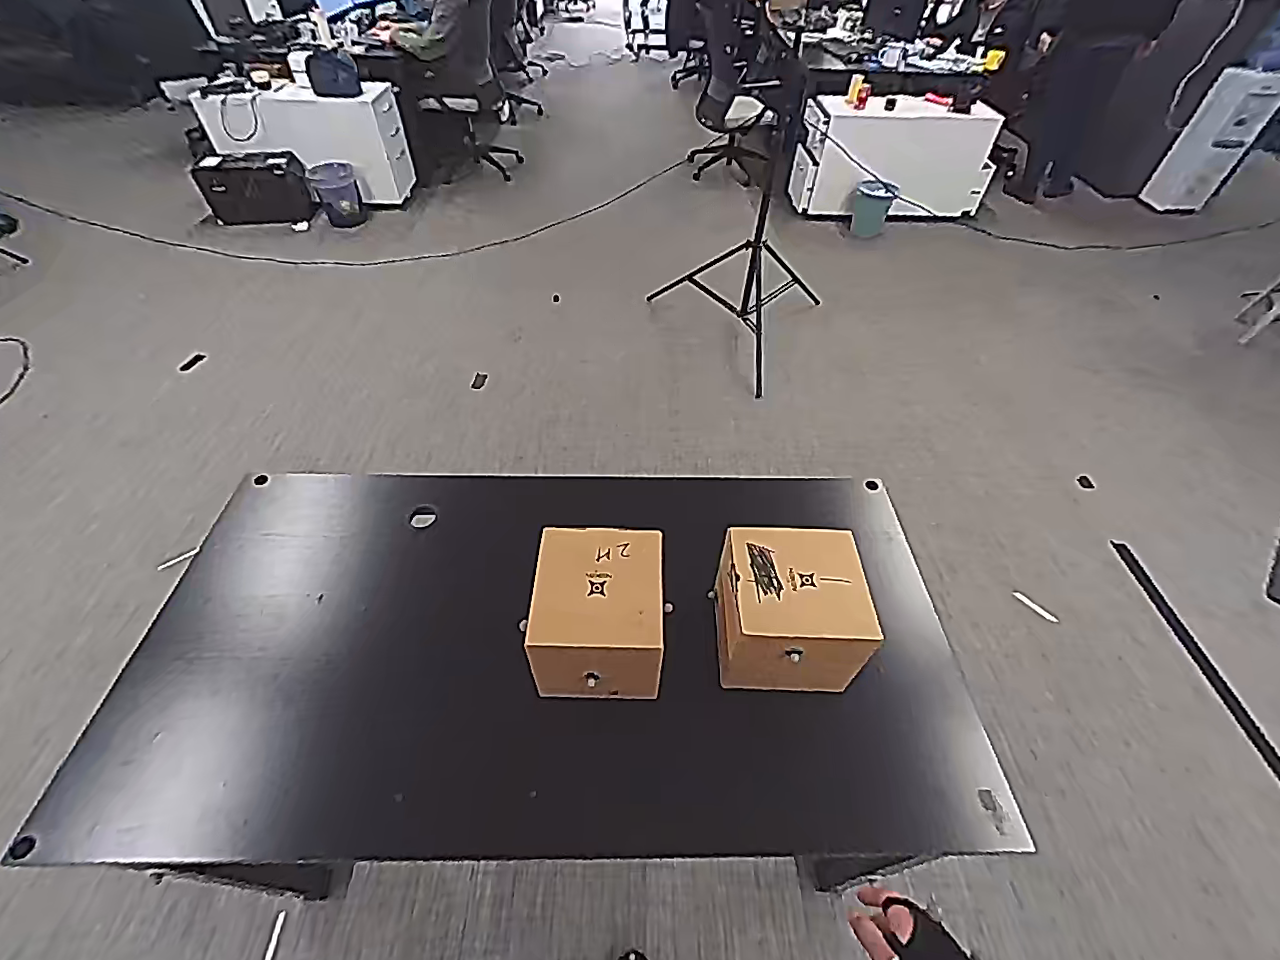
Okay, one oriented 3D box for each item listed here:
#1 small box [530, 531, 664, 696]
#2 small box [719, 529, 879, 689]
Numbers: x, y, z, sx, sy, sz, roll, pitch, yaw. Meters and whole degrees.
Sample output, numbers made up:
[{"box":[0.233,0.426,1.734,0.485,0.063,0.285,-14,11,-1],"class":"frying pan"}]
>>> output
[{"box":[-0.051,0.192,0.764,0.168,0.176,0.179,2,48,0],"class":"small box"},{"box":[0.210,0.187,0.775,0.179,0.176,0.168,2,48,0],"class":"small box"}]
